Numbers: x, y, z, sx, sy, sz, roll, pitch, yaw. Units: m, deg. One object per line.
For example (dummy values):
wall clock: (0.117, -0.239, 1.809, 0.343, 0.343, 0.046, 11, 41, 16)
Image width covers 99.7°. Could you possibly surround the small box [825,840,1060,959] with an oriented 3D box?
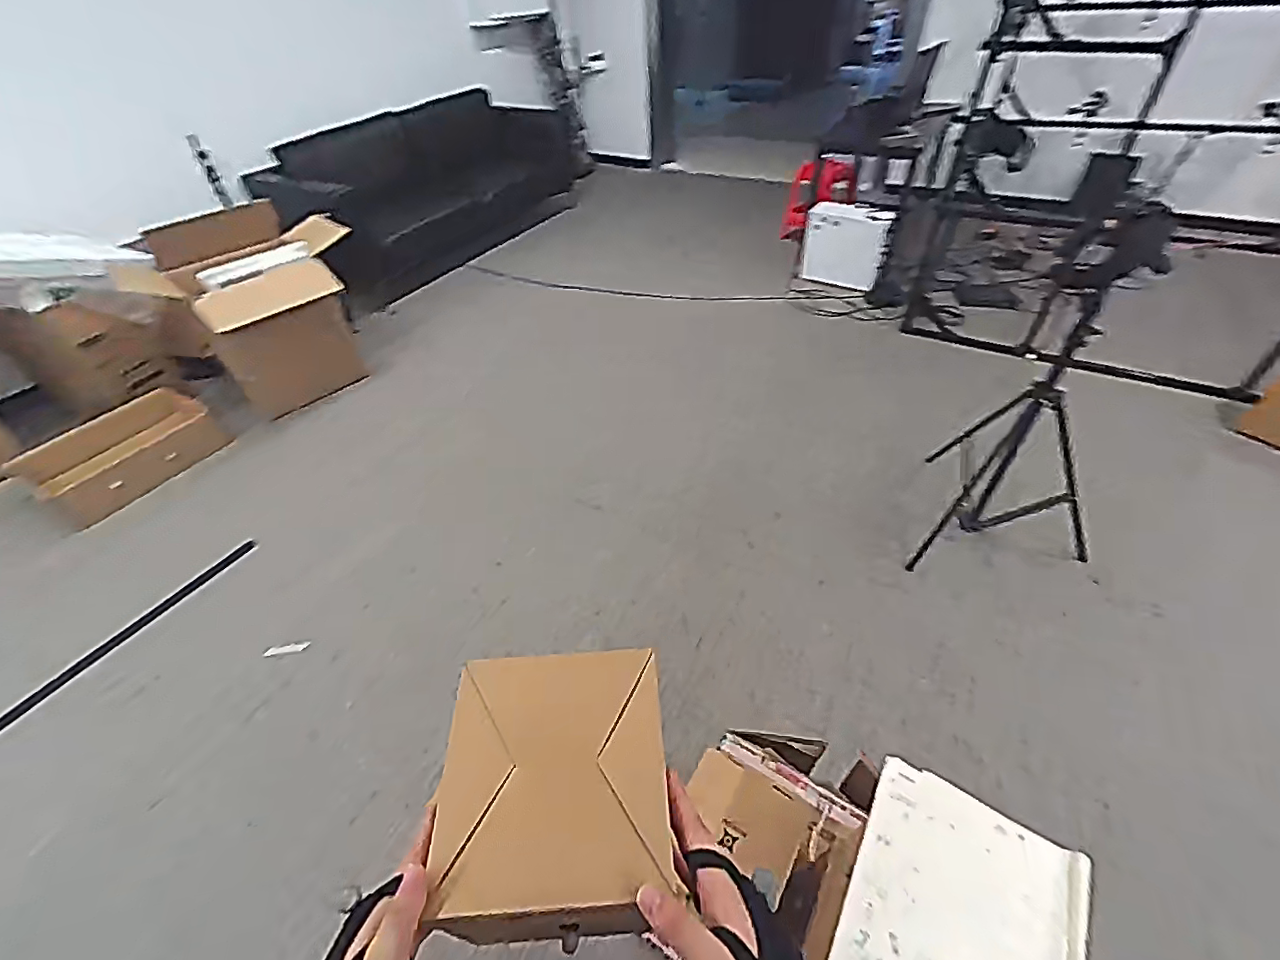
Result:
small box: (0.300, 0.531, 0.569, 0.168, 0.176, 0.179, 24, 52, 23)
